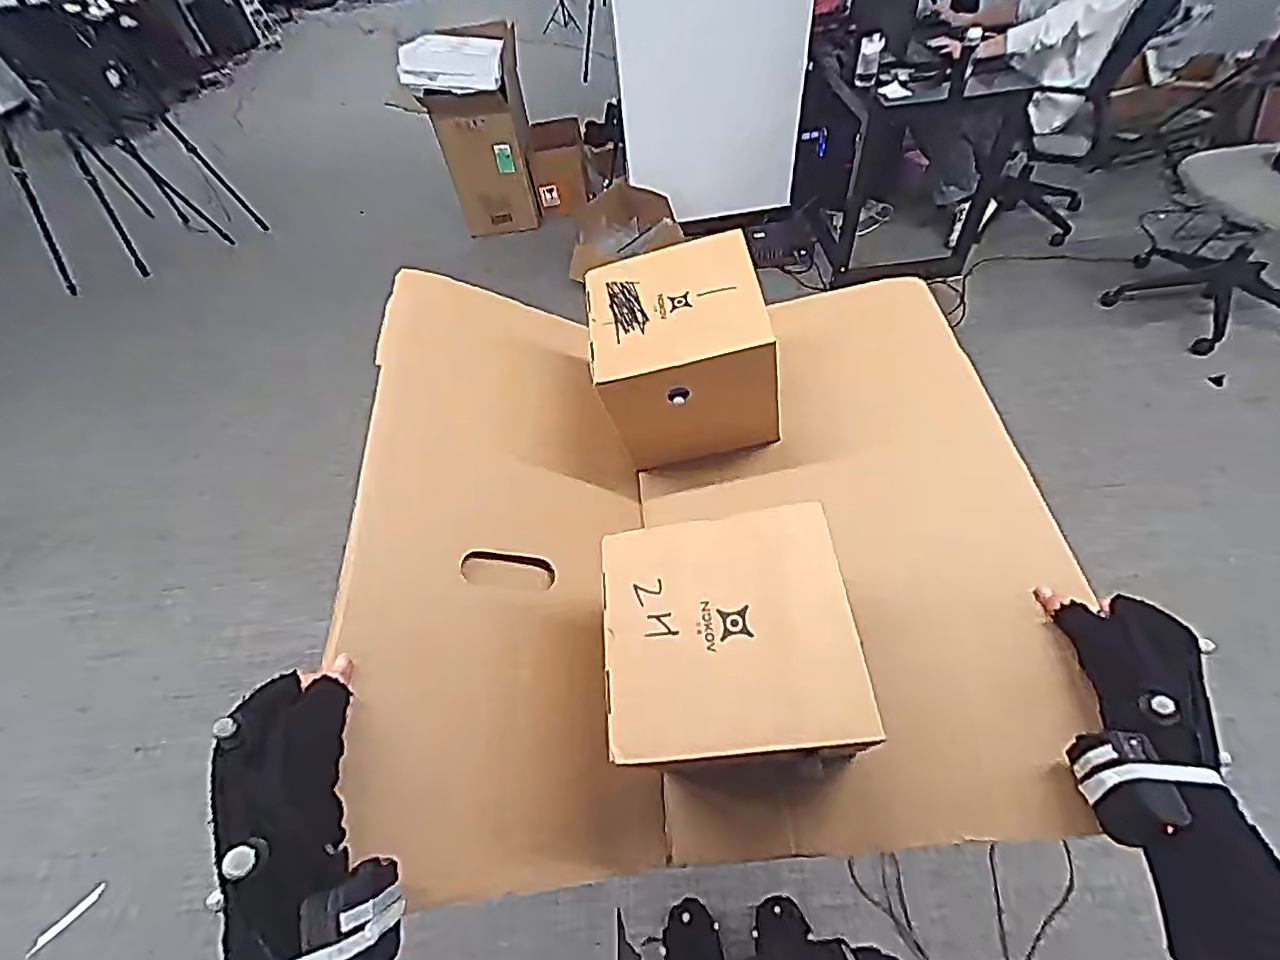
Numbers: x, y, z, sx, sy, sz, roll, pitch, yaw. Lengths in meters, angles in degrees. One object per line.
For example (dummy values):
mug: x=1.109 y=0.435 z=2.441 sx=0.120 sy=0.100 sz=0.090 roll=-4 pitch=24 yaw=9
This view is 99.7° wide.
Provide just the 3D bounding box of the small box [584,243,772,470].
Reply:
small box: x=0.047 y=-0.130 z=0.620 sx=0.179 sy=0.176 sz=0.168 roll=-12 pitch=59 yaw=8

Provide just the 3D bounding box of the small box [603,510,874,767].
small box: x=0.077 y=0.144 z=0.457 sx=0.179 sy=0.176 sz=0.168 roll=-11 pitch=59 yaw=11
